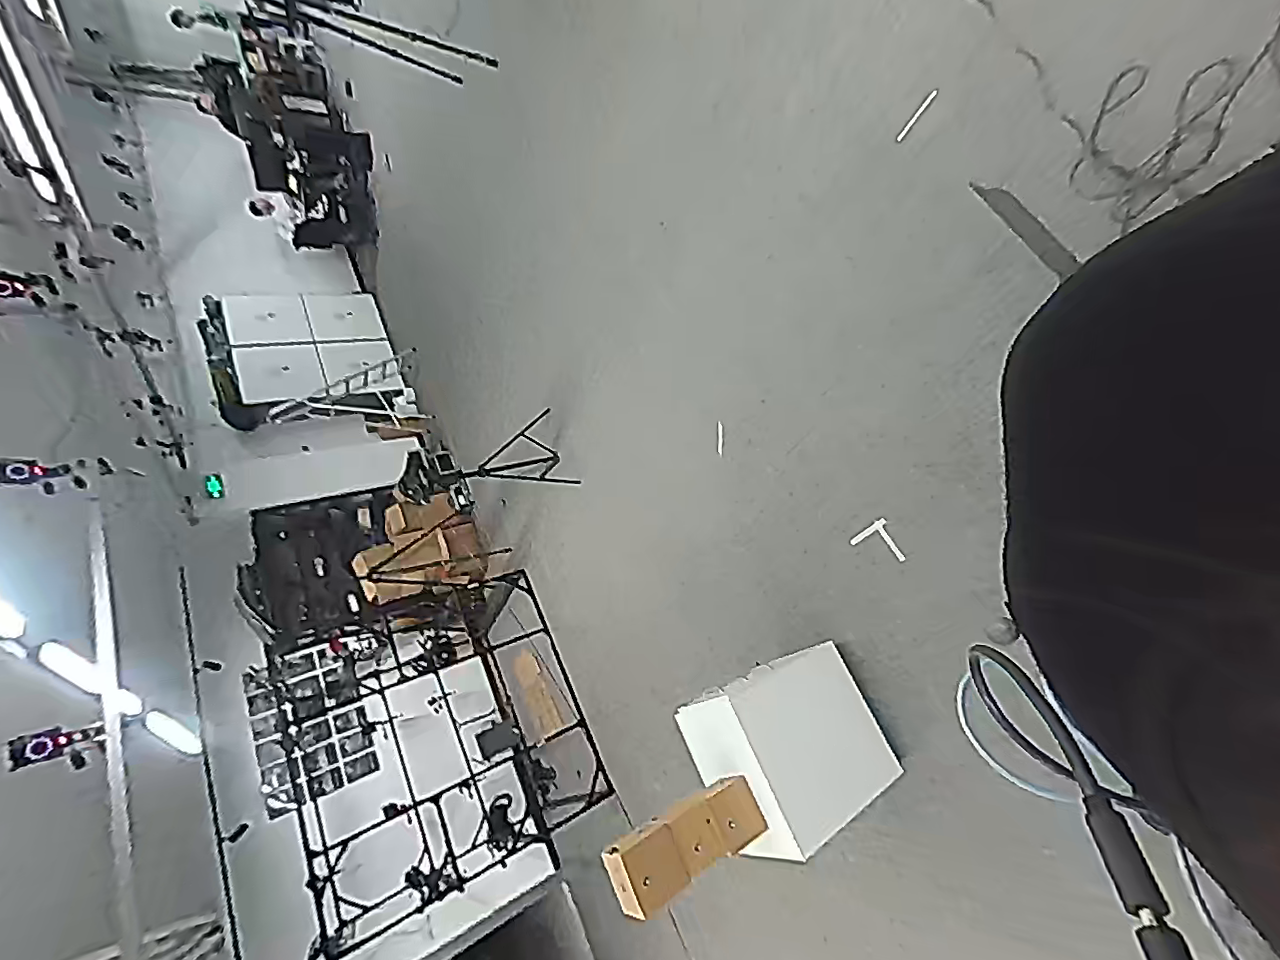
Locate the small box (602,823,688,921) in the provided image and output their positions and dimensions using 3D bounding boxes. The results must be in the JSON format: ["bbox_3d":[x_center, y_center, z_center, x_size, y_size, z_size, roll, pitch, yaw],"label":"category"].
[{"bbox_3d":[0.016,1.164,1.619,0.179,0.176,0.168,64,145,19],"label":"small box"}]

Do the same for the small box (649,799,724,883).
[{"bbox_3d":[0.143,1.142,1.722,0.168,0.176,0.179,64,146,19],"label":"small box"}]

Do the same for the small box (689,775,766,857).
[{"bbox_3d":[0.286,1.114,1.797,0.179,0.176,0.168,64,145,20],"label":"small box"}]
